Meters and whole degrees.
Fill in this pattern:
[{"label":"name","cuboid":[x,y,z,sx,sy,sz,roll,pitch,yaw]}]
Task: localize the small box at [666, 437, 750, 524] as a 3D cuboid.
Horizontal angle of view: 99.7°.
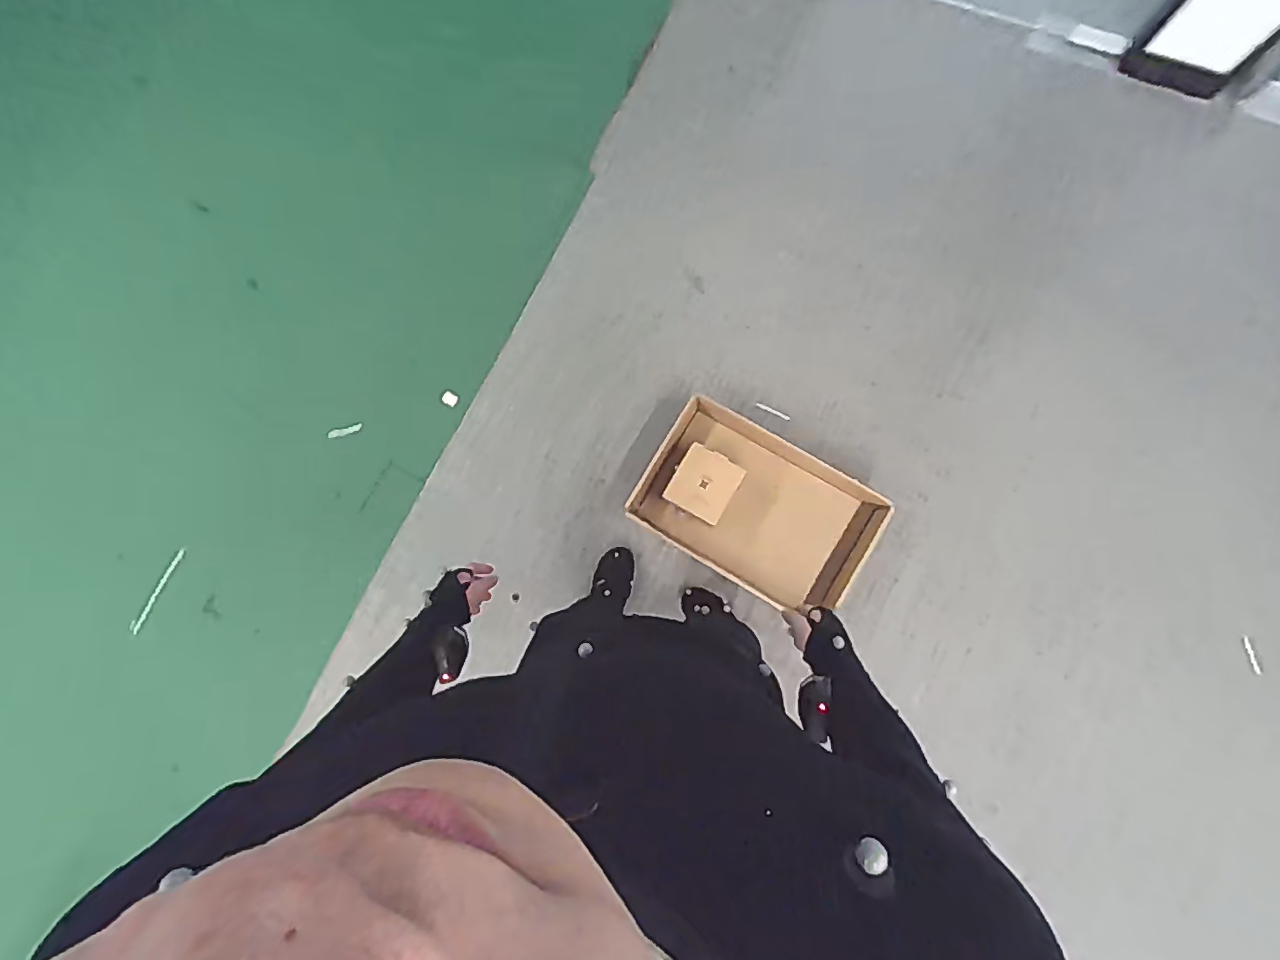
[{"label":"small box","cuboid":[0.186,0.007,1.504,0.168,0.176,0.179,31,88,9]}]
